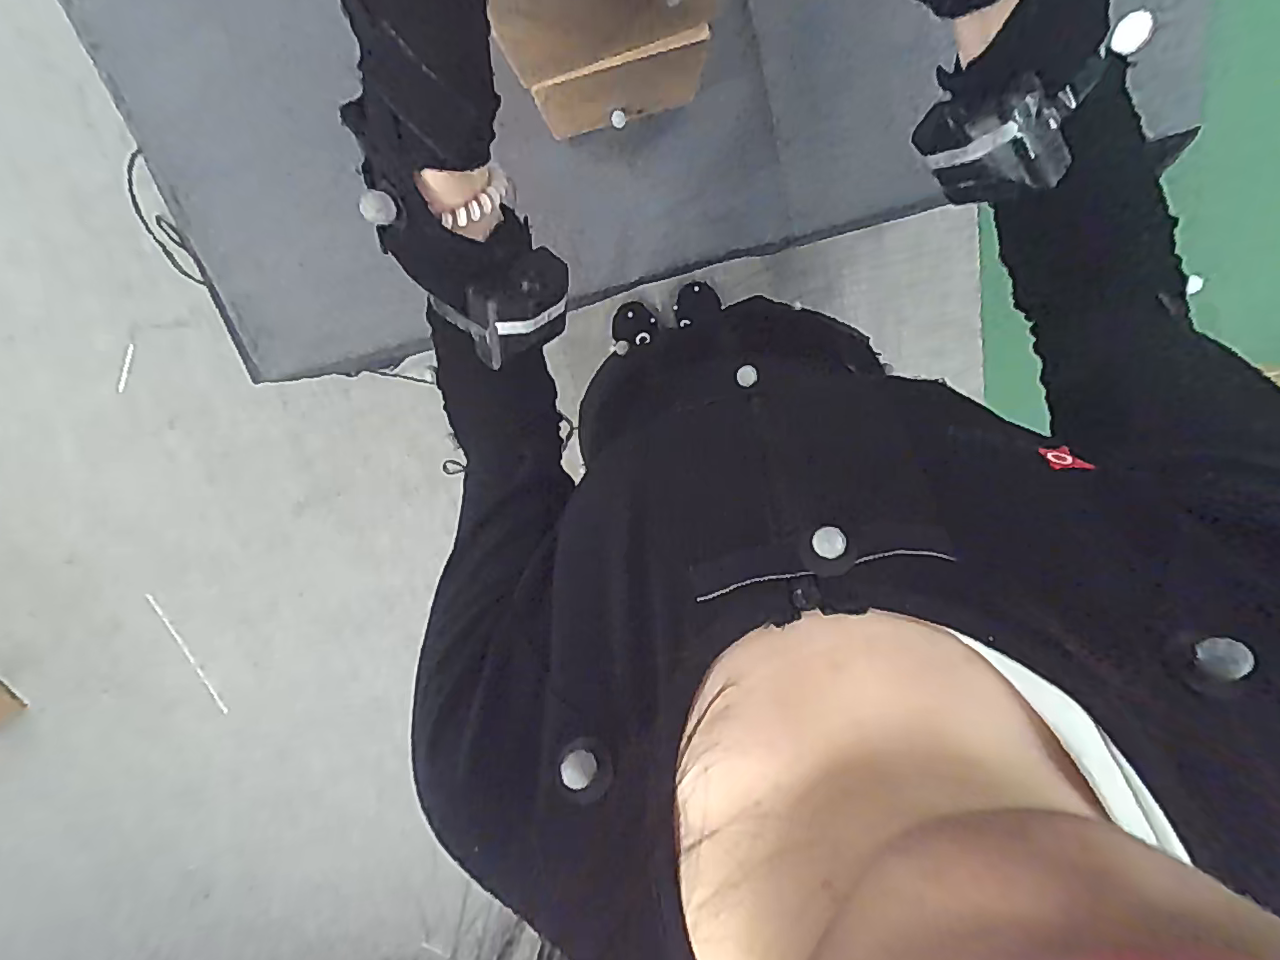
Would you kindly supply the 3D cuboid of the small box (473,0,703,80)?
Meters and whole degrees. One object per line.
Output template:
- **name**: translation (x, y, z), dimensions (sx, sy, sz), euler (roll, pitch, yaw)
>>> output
- **small box**: translation (-0.045, -0.417, 0.367), dimensions (0.179, 0.176, 0.168), euler (-15, 106, 5)

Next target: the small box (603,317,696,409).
- **small box**: translation (0.020, -0.298, 1.361), dimensions (0.179, 0.176, 0.168), euler (22, 119, 11)

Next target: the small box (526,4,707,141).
- **small box**: translation (-0.040, -0.466, 0.523), dimensions (0.168, 0.176, 0.179), euler (-13, 108, 4)
